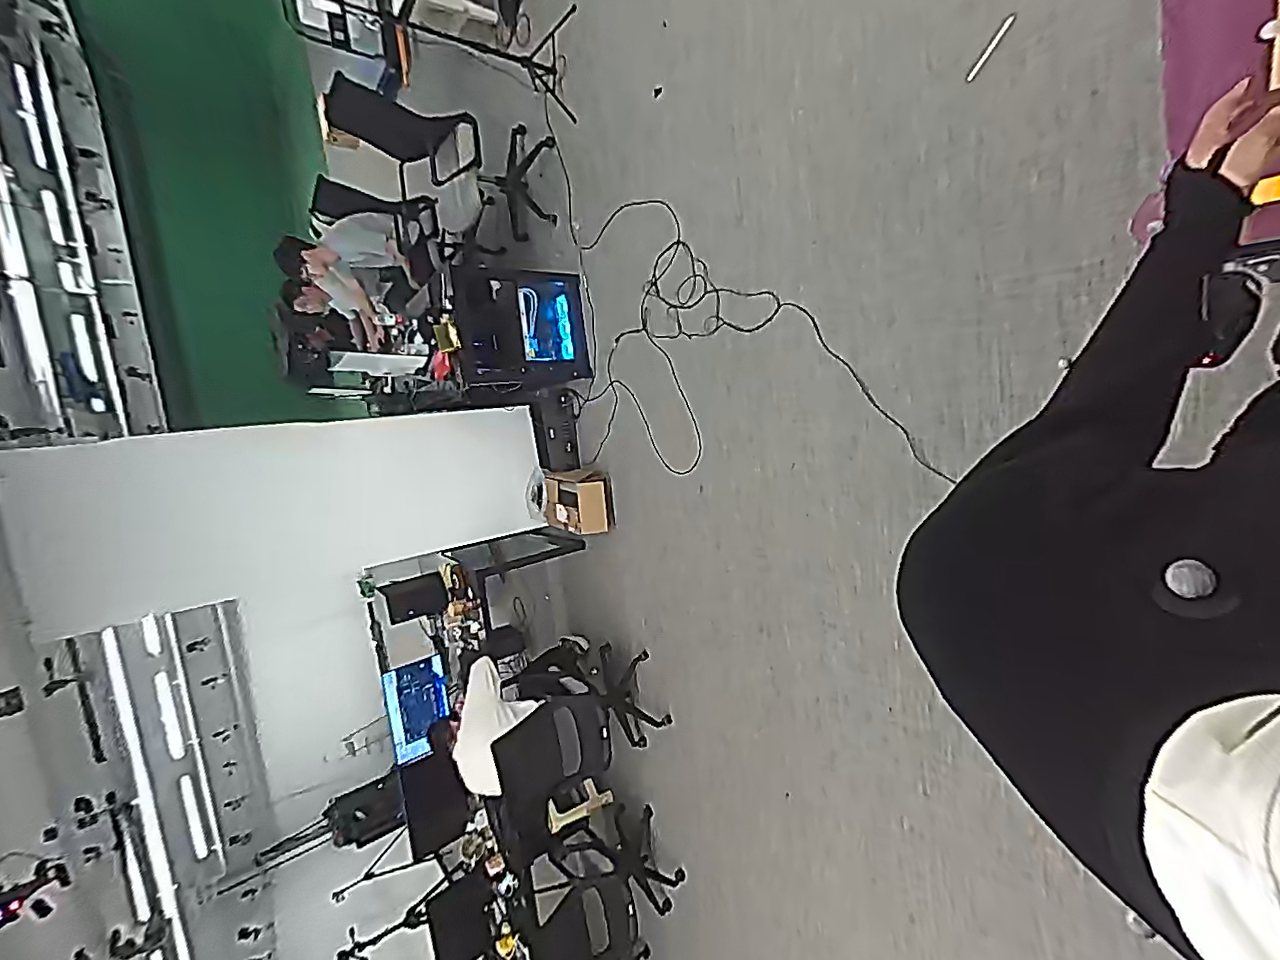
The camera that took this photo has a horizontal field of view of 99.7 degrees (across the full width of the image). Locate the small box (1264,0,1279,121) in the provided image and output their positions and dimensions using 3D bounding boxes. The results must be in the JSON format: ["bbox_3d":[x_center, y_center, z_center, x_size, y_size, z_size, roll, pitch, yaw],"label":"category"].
[{"bbox_3d":[0.662,-0.428,0.444,0.179,0.176,0.168,9,107,52],"label":"small box"}]
